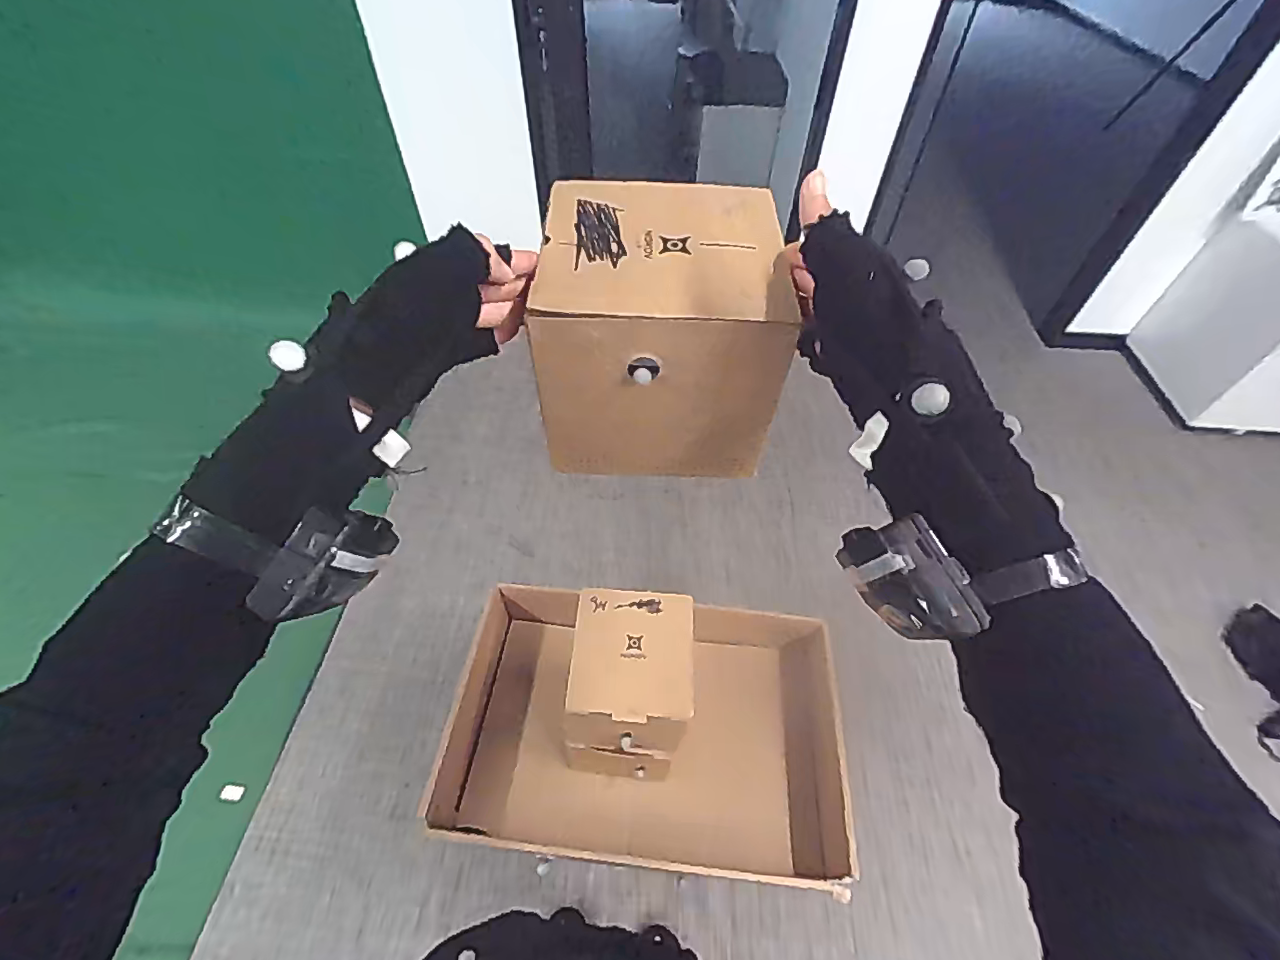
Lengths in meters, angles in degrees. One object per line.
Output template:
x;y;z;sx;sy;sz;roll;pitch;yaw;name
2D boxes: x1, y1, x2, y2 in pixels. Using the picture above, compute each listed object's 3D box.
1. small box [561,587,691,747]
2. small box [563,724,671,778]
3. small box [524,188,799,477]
-0.017;0.279;0.794;0.168;0.176;0.179;5;52;-1;small box
-0.030;0.387;0.916;0.168;0.176;0.179;7;49;1;small box
0.014;-0.115;0.446;0.179;0.176;0.168;2;54;-1;small box
